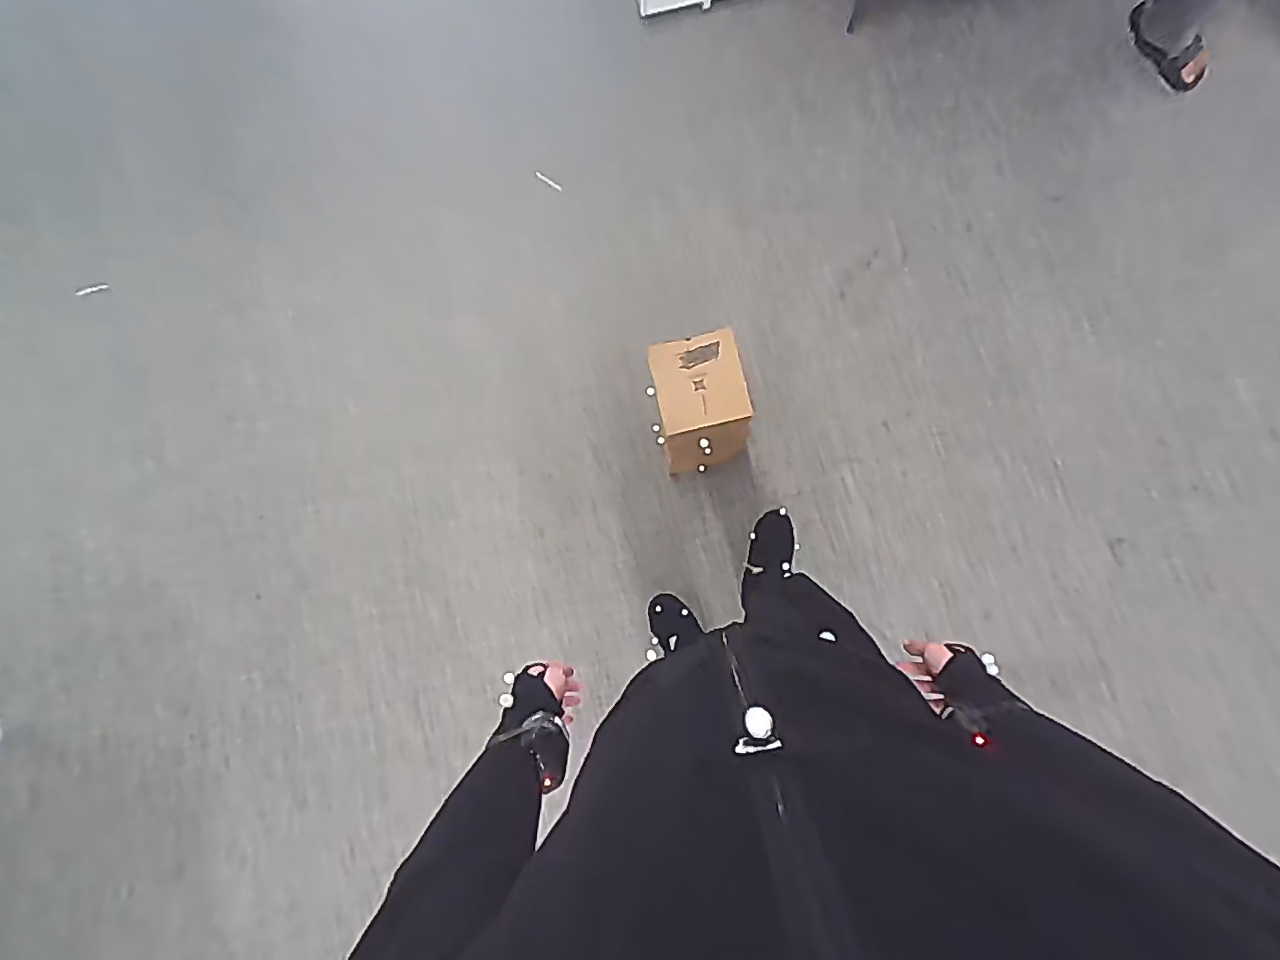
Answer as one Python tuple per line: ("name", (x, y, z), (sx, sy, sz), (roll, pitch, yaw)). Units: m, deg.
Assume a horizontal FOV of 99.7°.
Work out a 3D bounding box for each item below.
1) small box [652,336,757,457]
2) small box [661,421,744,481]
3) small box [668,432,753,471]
("small box", (0.123, -0.158, 1.078), (0.168, 0.176, 0.179), (-13, 82, 2))
("small box", (0.155, -0.104, 1.399), (0.179, 0.176, 0.168), (-13, 80, 1))
("small box", (0.145, -0.127, 1.238), (0.179, 0.176, 0.168), (-14, 80, 1))
